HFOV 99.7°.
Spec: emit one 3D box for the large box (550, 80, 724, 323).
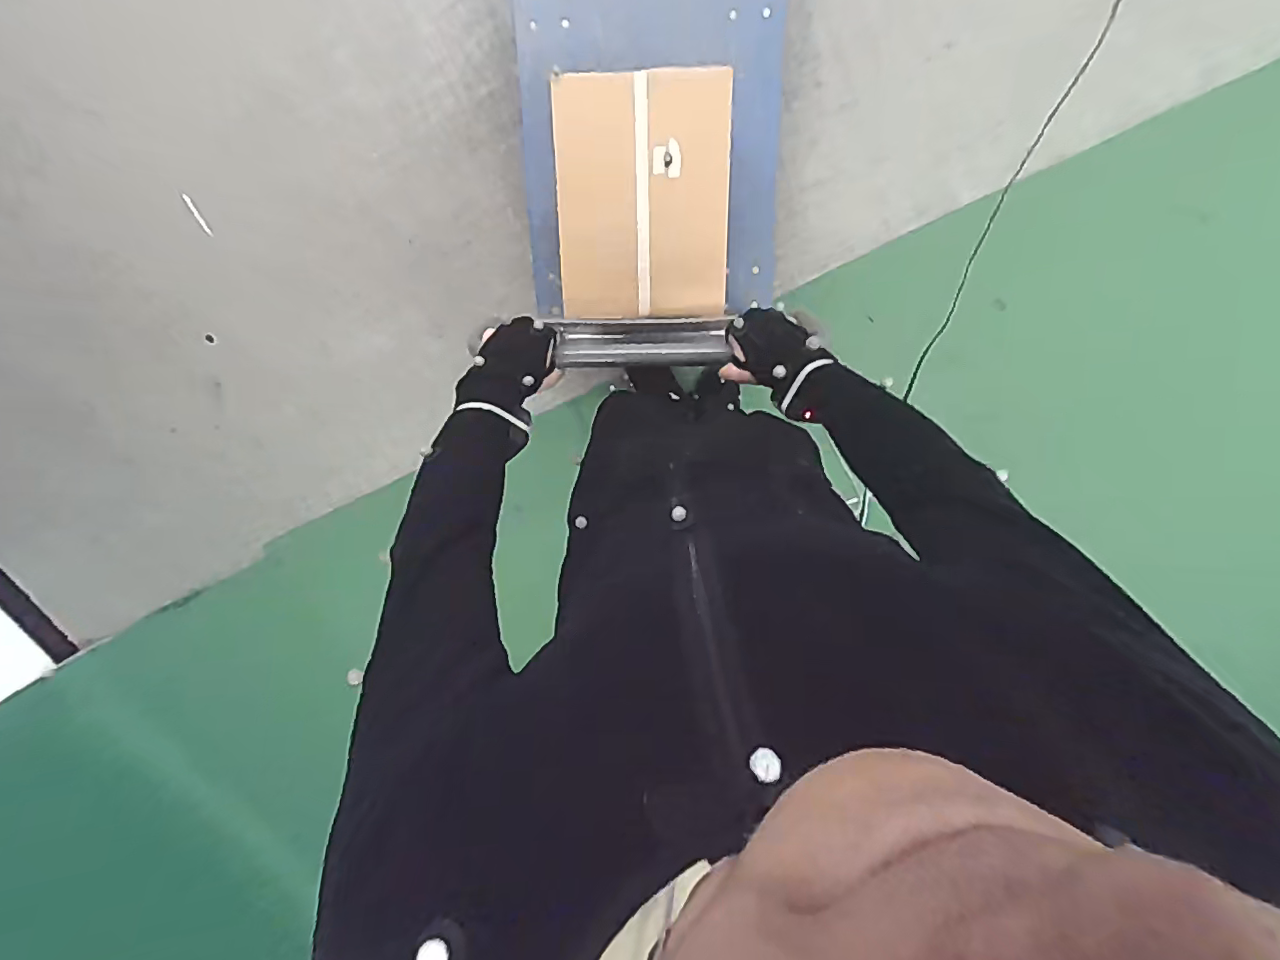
[{"bbox_3d":[0.007,-0.548,1.147,0.320,0.320,0.408,1,108,3],"label":"large box"}]
